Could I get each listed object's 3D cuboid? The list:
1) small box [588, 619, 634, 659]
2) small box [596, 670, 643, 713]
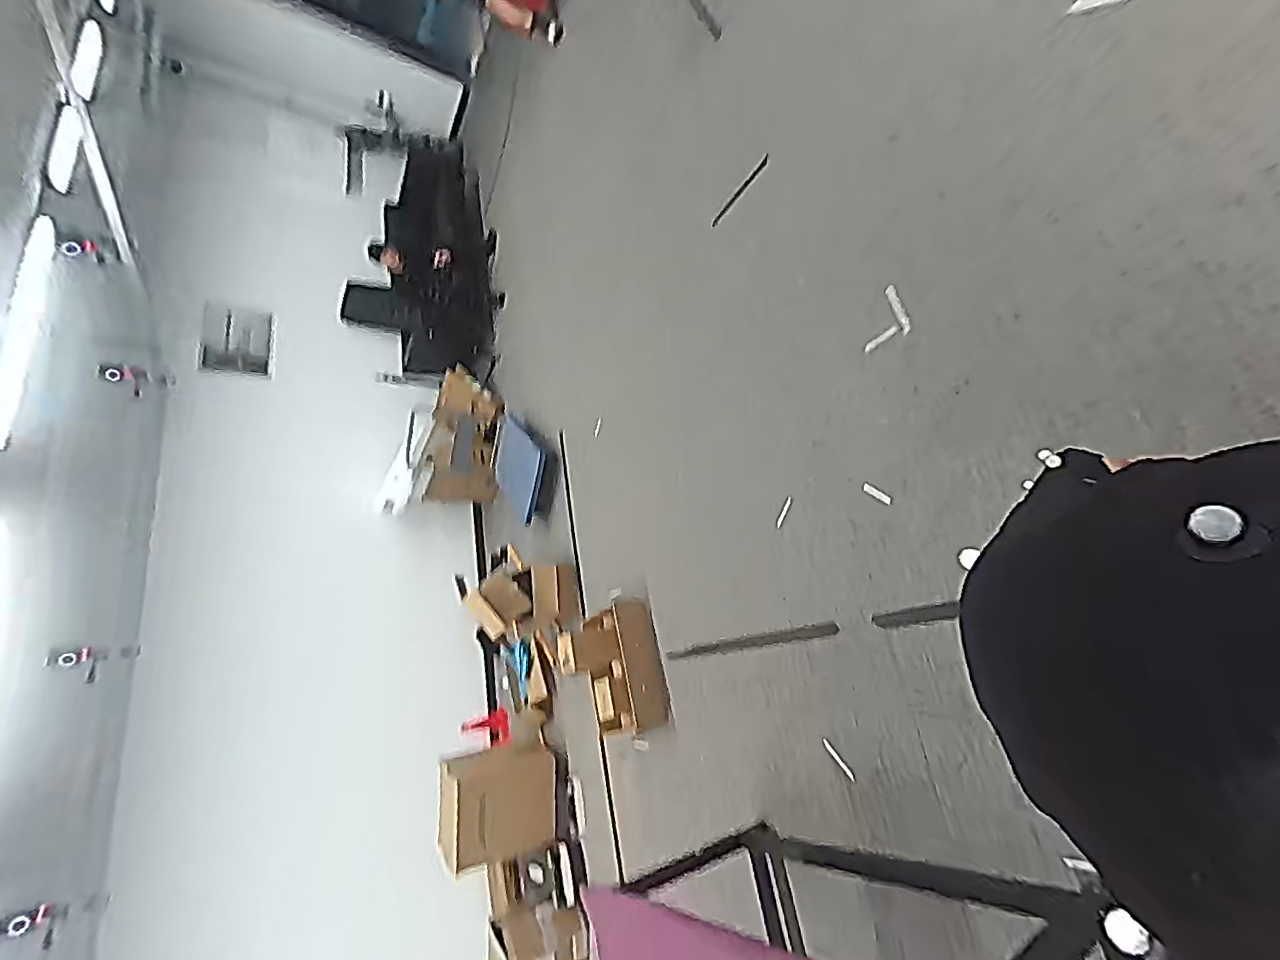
[{"bbox_3d":[-0.155,0.844,2.869,0.179,0.176,0.168,-41,56,49],"label":"small box"},{"bbox_3d":[-0.104,1.079,2.769,0.168,0.176,0.179,-44,51,49],"label":"small box"}]
